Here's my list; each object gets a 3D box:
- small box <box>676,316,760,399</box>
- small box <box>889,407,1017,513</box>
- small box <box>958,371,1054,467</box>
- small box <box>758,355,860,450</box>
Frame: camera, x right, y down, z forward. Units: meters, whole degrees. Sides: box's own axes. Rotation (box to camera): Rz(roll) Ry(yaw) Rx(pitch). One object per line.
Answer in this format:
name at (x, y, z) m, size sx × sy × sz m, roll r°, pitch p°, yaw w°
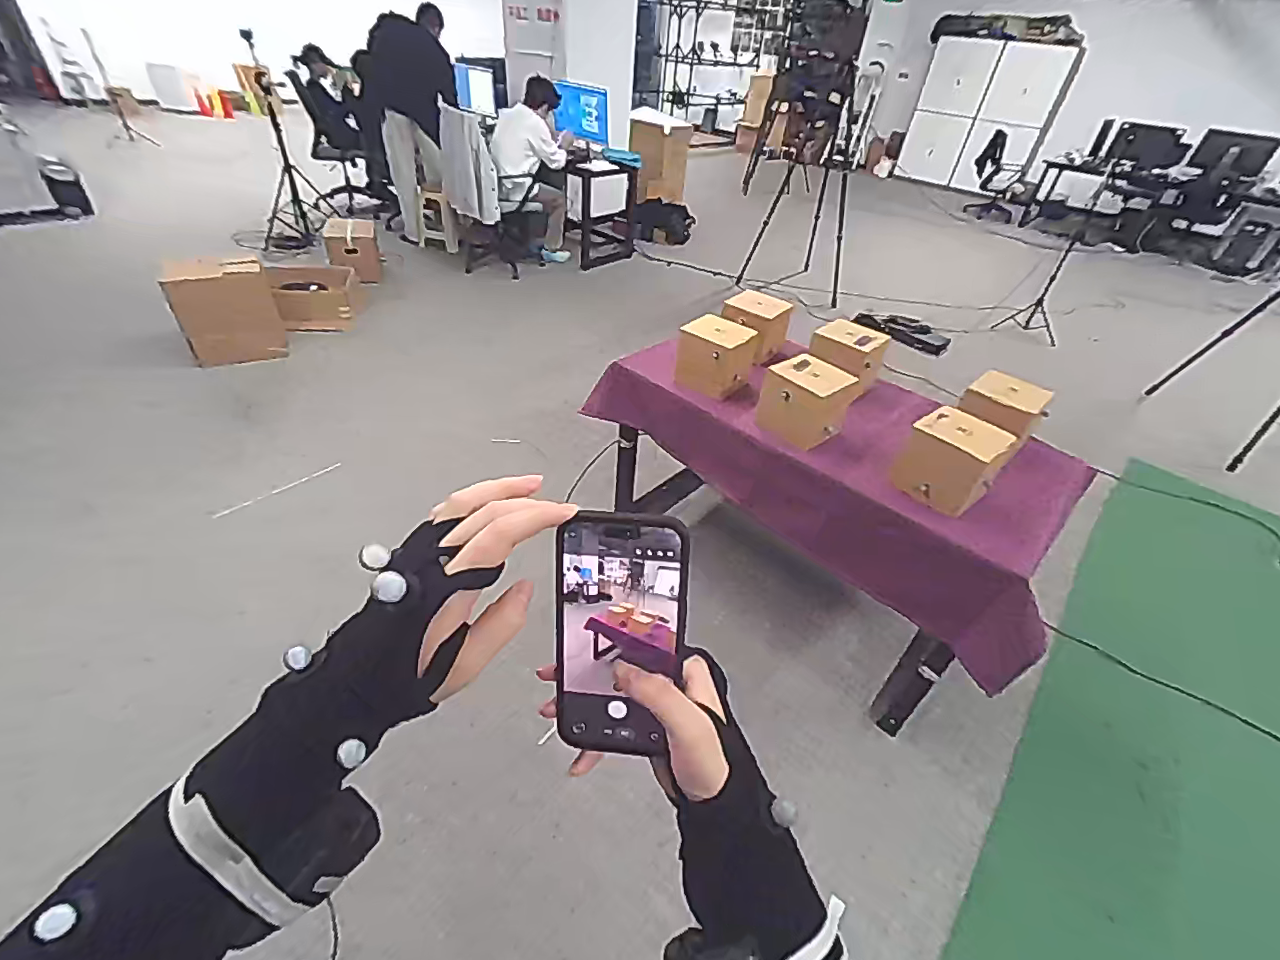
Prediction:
small box at (0.224, -0.363, 1.603) m, size 0.179 × 0.176 × 0.168 m, roll 30°, pitch 45°, yaw 25°
small box at (0.730, -0.041, 1.276) m, size 0.168 × 0.176 × 0.179 m, roll -24°, pitch 48°, yaw -32°
small box at (0.958, -0.164, 1.454) m, size 0.179 × 0.176 × 0.168 m, roll -28°, pitch 50°, yaw -34°
small box at (0.441, -0.206, 1.439) m, size 0.168 × 0.176 × 0.179 m, roll -26°, pitch 50°, yaw -33°
